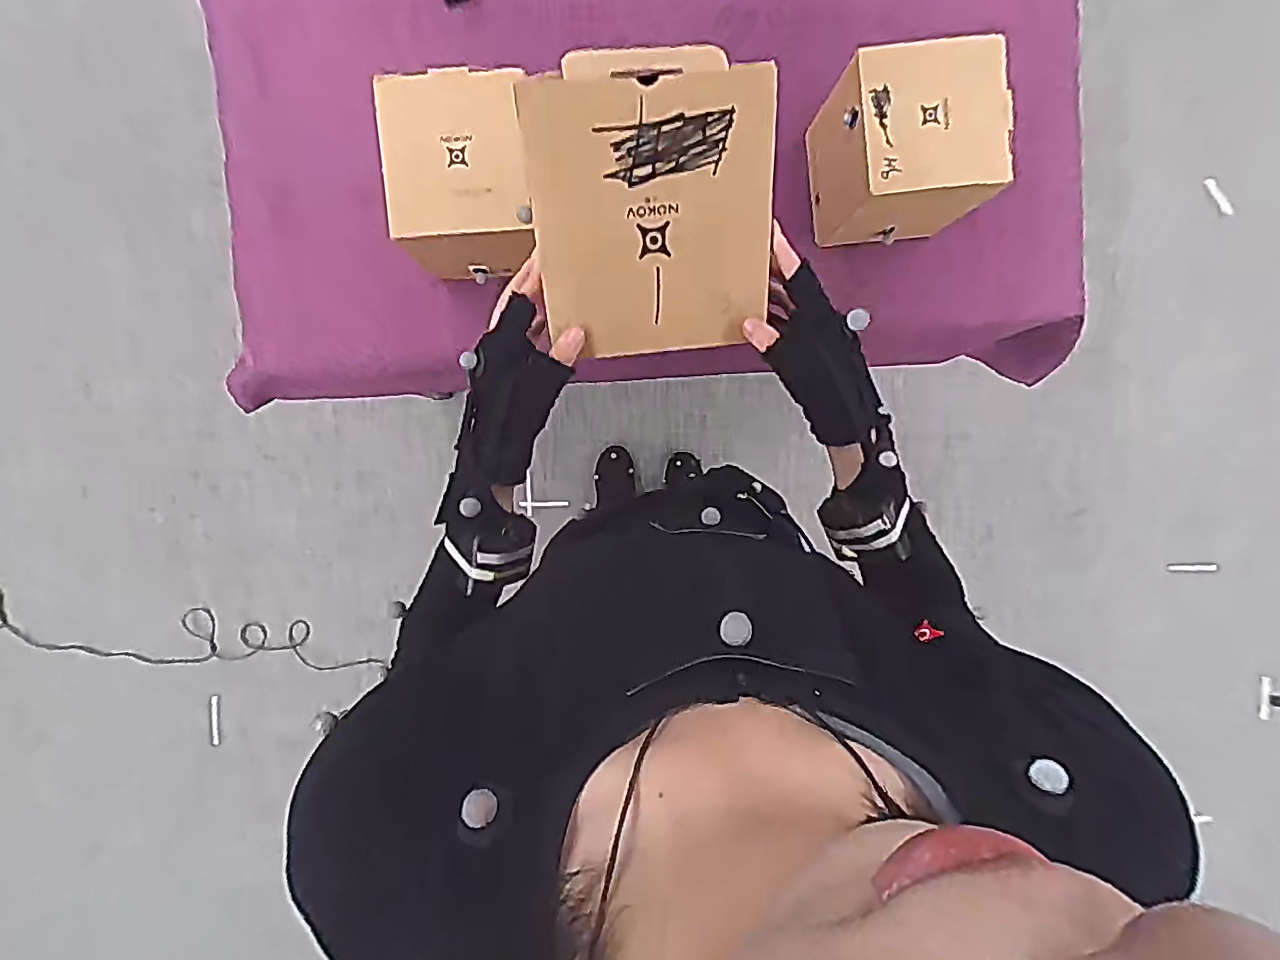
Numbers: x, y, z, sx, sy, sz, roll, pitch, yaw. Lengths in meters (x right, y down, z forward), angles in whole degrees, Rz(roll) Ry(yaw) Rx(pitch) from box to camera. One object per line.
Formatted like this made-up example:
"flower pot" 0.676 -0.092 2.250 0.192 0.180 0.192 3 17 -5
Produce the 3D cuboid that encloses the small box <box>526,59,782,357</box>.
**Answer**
"small box" 0.005 -0.211 0.439 0.168 0.176 0.179 -7 117 -4

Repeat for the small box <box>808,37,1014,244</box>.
"small box" 0.338 -0.424 0.701 0.179 0.176 0.168 -7 93 -3

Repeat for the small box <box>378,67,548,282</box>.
"small box" -0.201 -0.365 0.674 0.168 0.176 0.179 -6 95 -2
